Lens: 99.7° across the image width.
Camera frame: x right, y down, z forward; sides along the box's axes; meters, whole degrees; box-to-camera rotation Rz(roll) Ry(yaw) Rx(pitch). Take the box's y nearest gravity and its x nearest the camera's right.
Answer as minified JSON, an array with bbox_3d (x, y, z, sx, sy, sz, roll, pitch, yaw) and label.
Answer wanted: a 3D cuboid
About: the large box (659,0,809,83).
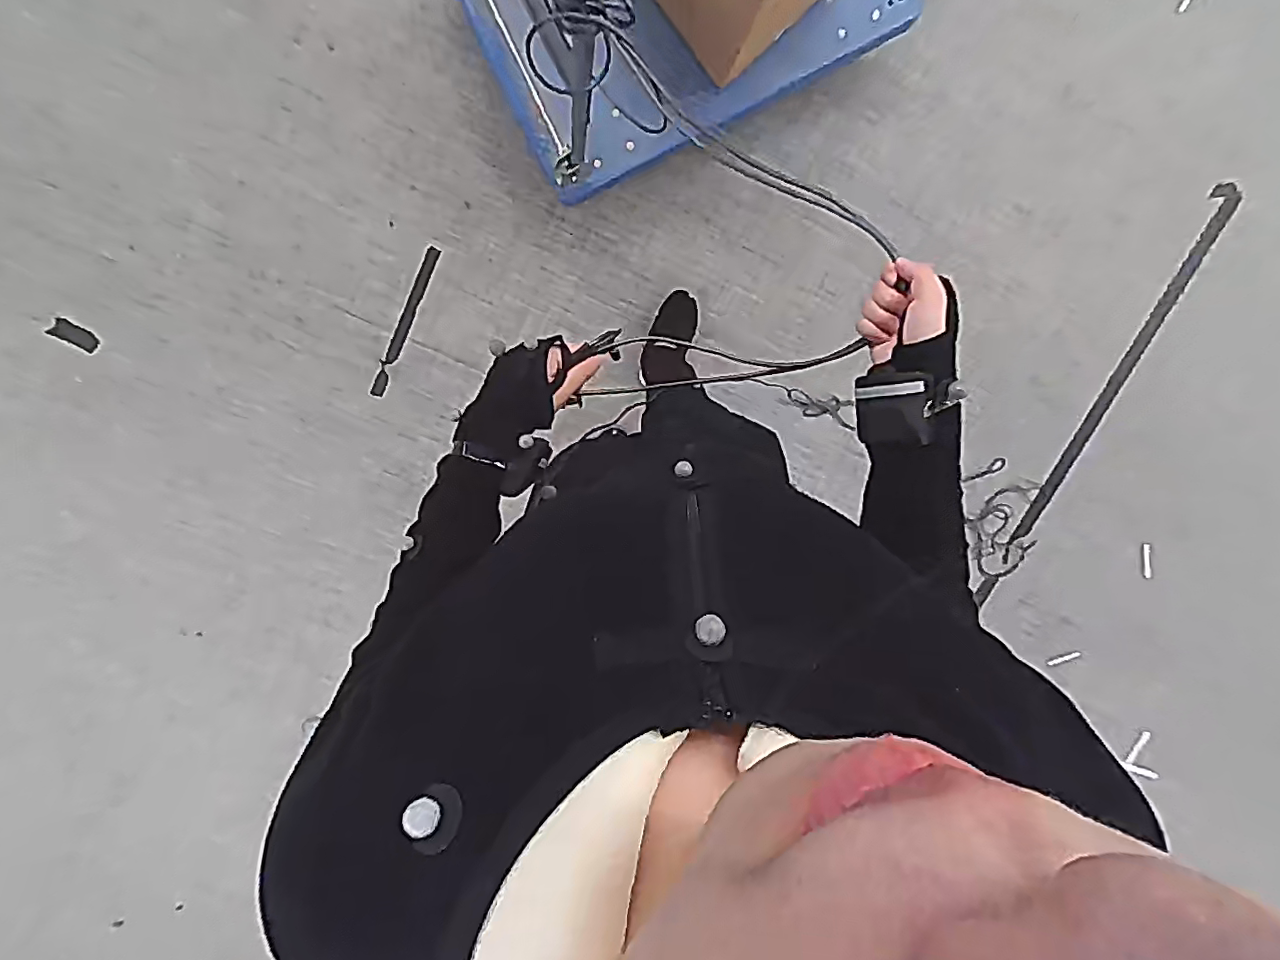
[{"bbox_3d":[0.161,-1.030,0.930,0.320,0.320,0.408,-41,105,6],"label":"large box"}]
